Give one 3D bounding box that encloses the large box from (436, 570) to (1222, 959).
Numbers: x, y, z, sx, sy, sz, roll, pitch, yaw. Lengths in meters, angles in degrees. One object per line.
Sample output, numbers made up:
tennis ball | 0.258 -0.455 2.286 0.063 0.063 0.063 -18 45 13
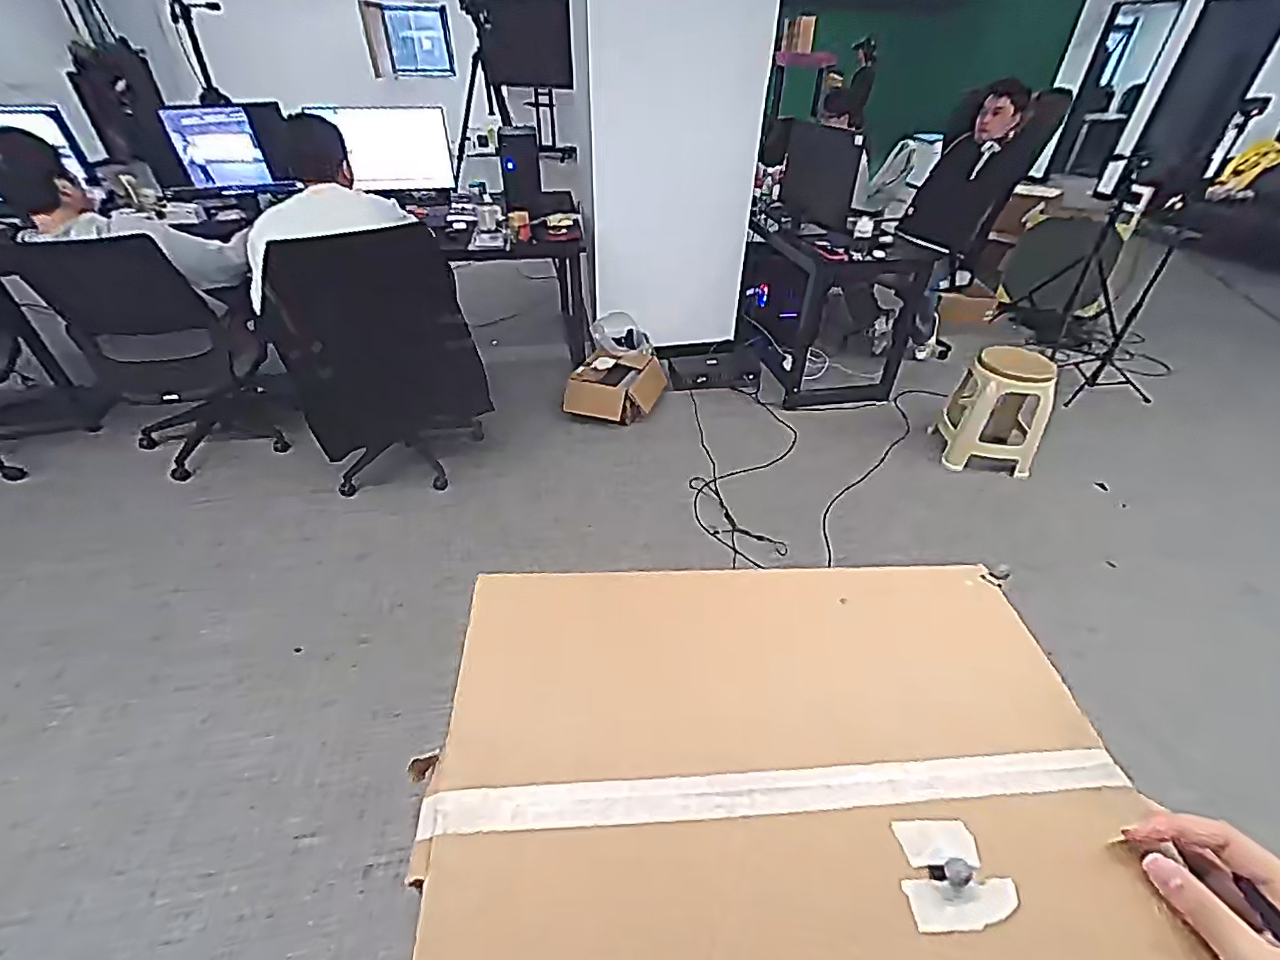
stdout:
large box | 0.080 0.289 0.425 0.408 0.320 0.320 1 45 -7
